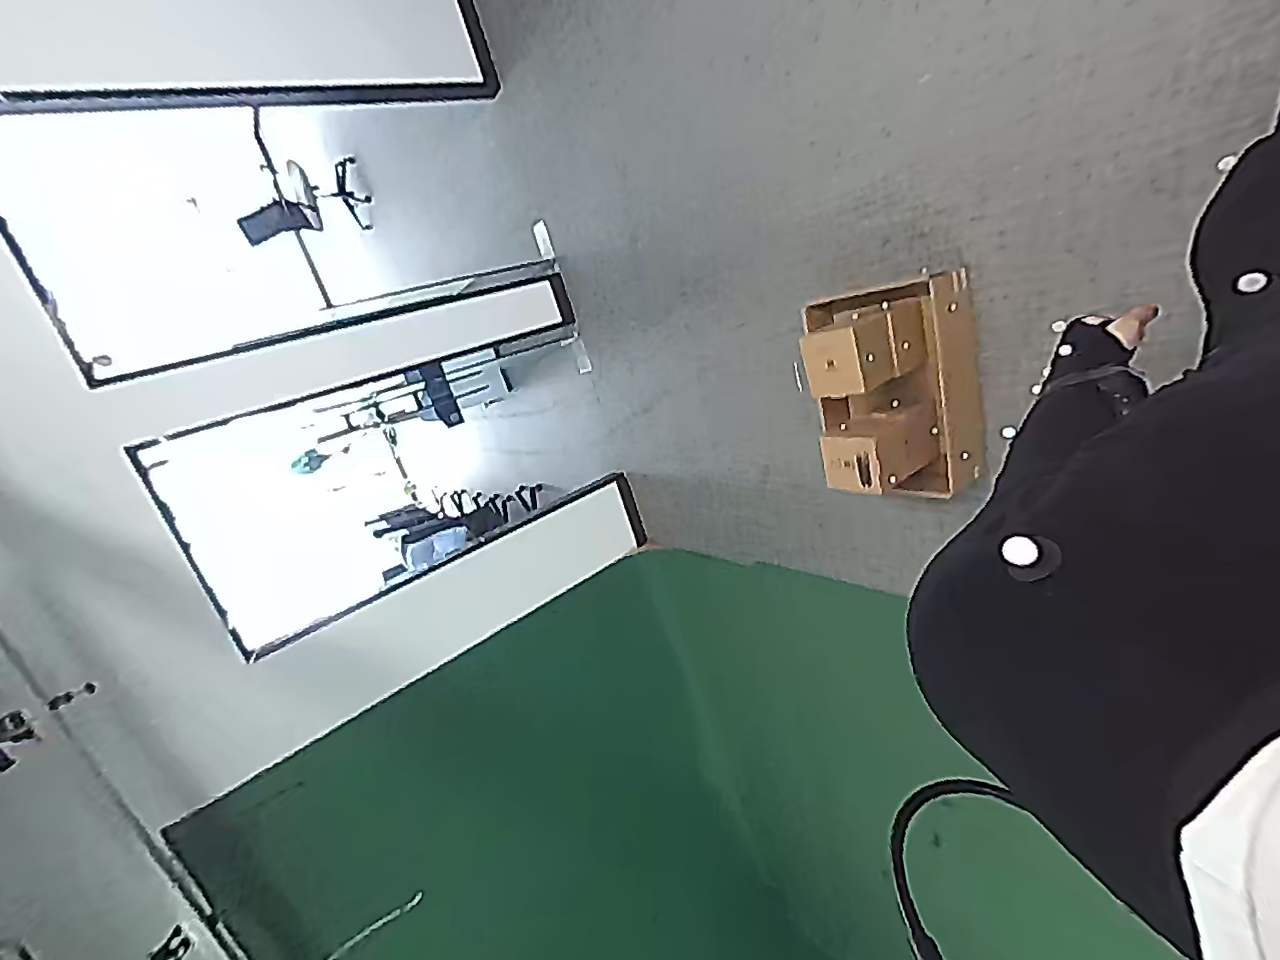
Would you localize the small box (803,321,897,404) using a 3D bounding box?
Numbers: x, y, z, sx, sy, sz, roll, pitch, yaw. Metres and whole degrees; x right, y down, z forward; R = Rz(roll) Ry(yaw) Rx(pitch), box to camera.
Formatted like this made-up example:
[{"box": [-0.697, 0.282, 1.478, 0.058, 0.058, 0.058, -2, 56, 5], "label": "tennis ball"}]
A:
[{"box": [0.580, -0.320, 1.482, 0.168, 0.176, 0.179, 4, 116, 54], "label": "small box"}]
